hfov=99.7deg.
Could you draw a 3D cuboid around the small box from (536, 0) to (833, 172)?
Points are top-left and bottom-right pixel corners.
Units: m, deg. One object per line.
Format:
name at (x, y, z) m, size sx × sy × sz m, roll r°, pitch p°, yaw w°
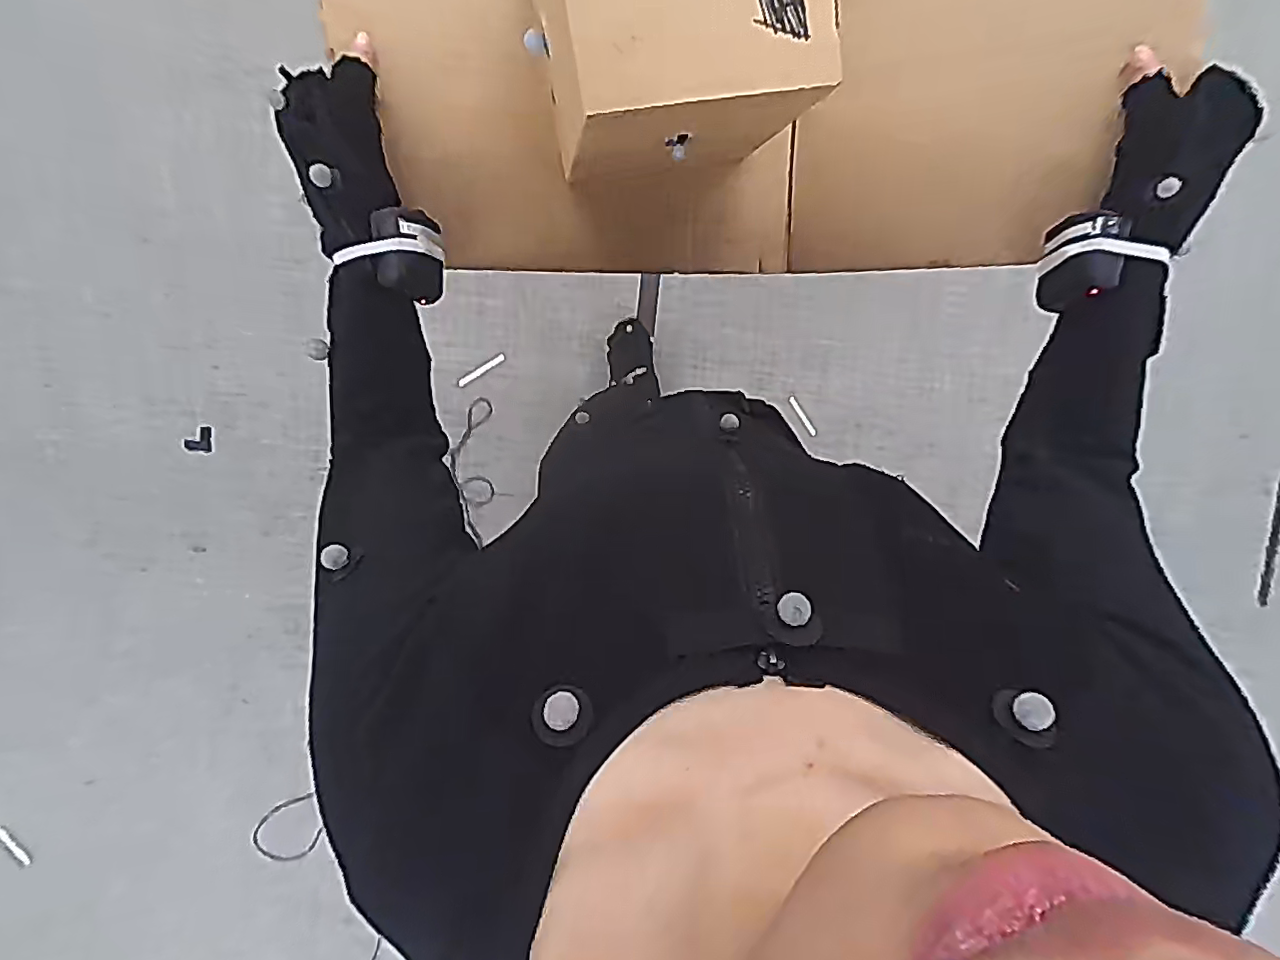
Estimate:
small box at (0.020, -0.352, 0.407) m, size 0.179 × 0.176 × 0.168 m, roll -12°, pitch 107°, yaw -8°
